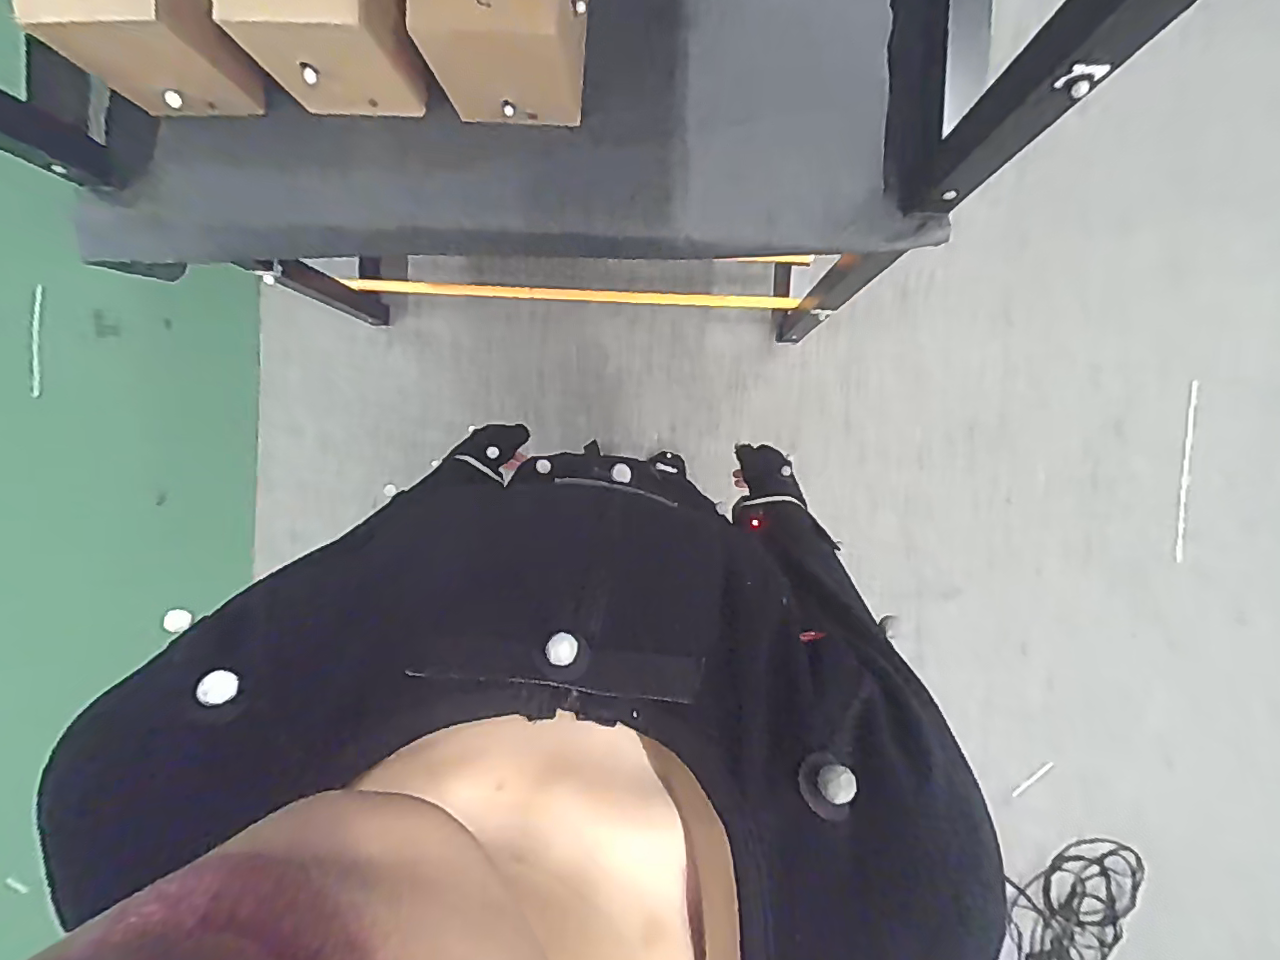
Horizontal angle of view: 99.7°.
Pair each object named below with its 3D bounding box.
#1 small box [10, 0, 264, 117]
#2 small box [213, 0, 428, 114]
[{"bbox_3d":[-0.601,-0.590,0.666,0.168,0.176,0.179,0,93,2],"label":"small box"},{"bbox_3d":[-0.374,-0.584,0.660,0.168,0.176,0.179,3,92,2],"label":"small box"}]
